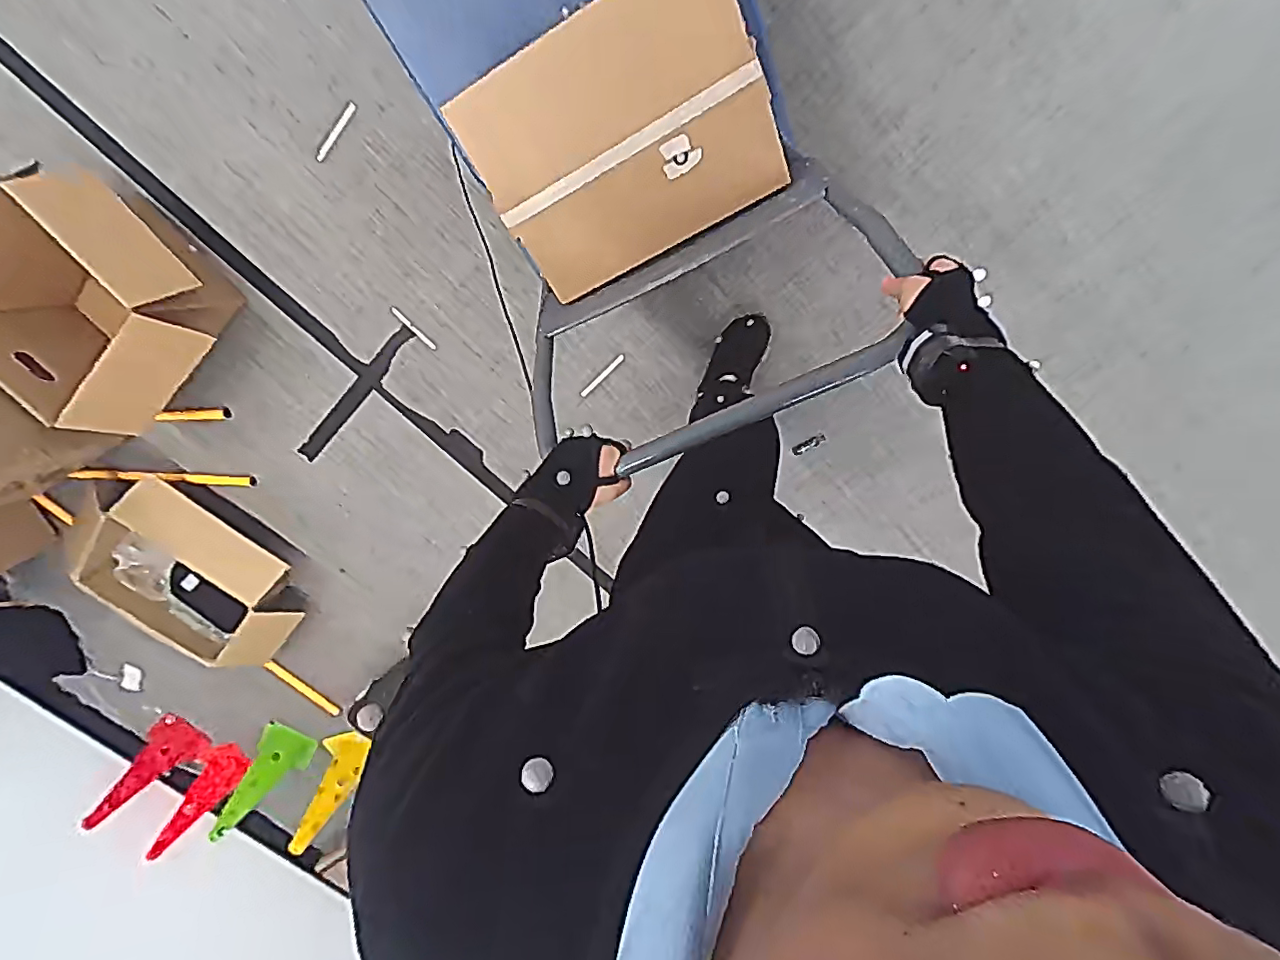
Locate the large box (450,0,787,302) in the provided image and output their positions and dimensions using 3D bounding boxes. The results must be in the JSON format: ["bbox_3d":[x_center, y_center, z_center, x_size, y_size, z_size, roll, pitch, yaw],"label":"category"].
[{"bbox_3d":[-0.031,-0.571,0.890,0.408,0.320,0.320,-24,128,14],"label":"large box"}]
